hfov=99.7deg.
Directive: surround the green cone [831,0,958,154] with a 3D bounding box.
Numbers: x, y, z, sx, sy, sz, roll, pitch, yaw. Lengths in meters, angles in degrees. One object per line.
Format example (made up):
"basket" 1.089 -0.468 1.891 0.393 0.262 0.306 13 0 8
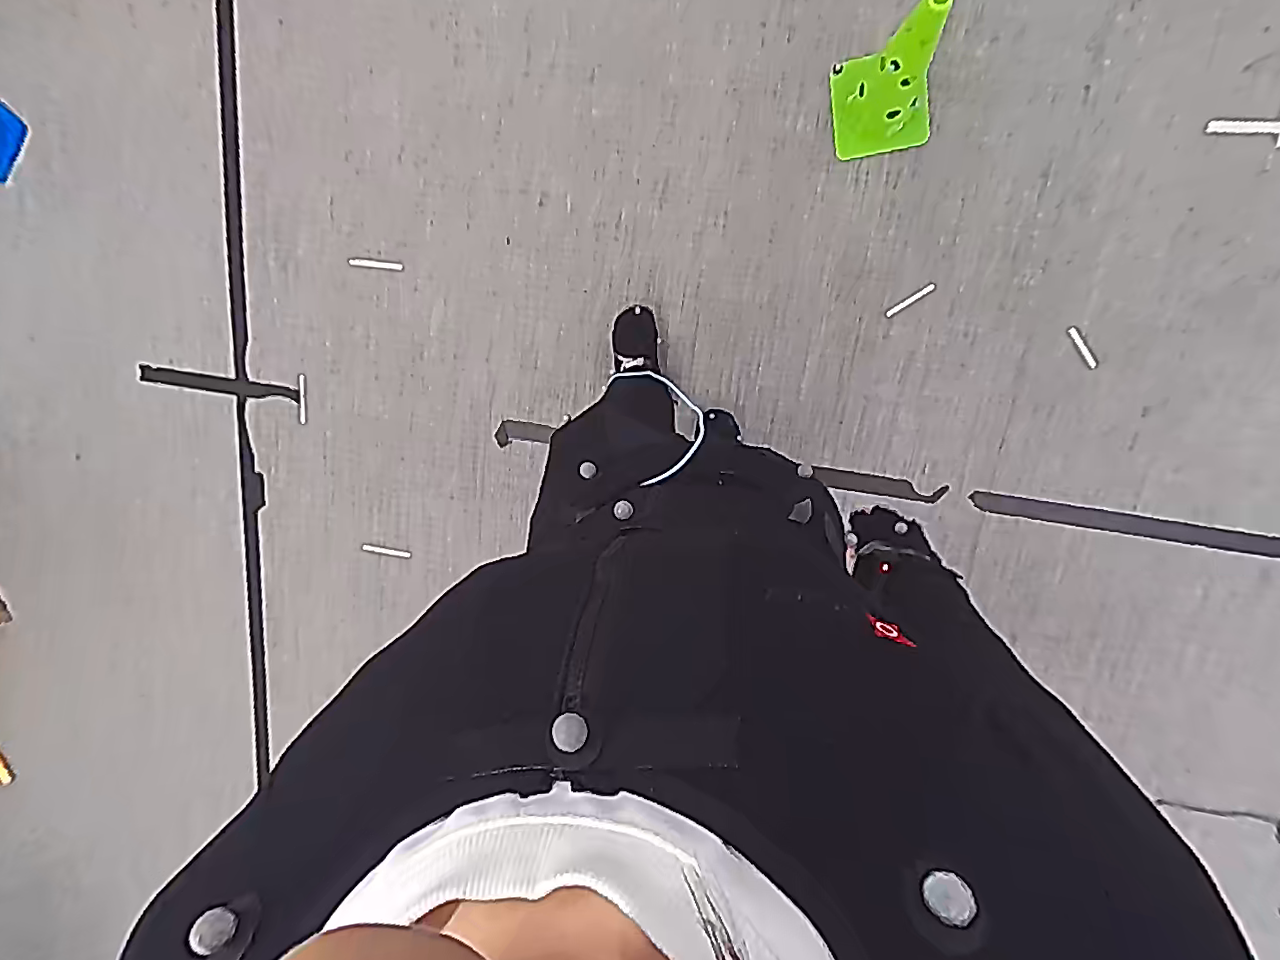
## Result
"green cone" 0.507 -0.804 1.023 0.202 0.368 0.200 -8 100 9
